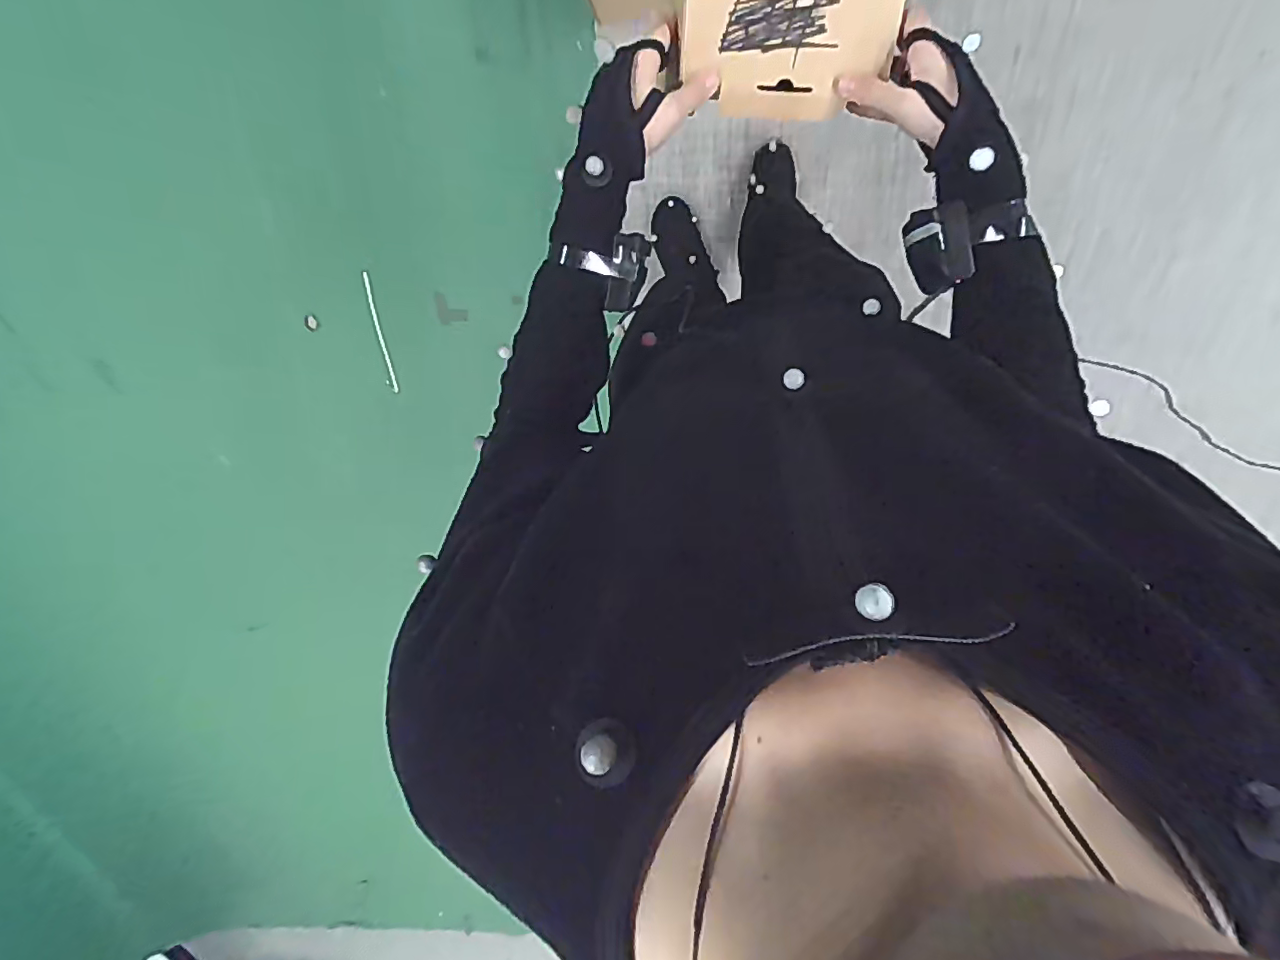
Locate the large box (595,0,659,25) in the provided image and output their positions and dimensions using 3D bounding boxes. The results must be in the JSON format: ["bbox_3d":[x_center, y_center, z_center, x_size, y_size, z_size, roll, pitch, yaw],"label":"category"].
[{"bbox_3d":[0.067,-1.045,0.888,0.408,0.320,0.320,-14,116,12],"label":"large box"}]

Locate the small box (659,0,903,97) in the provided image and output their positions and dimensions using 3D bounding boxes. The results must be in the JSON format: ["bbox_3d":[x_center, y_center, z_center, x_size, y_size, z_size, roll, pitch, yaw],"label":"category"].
[{"bbox_3d":[0.108,-0.422,0.438,0.168,0.176,0.179,-1,122,-5],"label":"small box"}]
